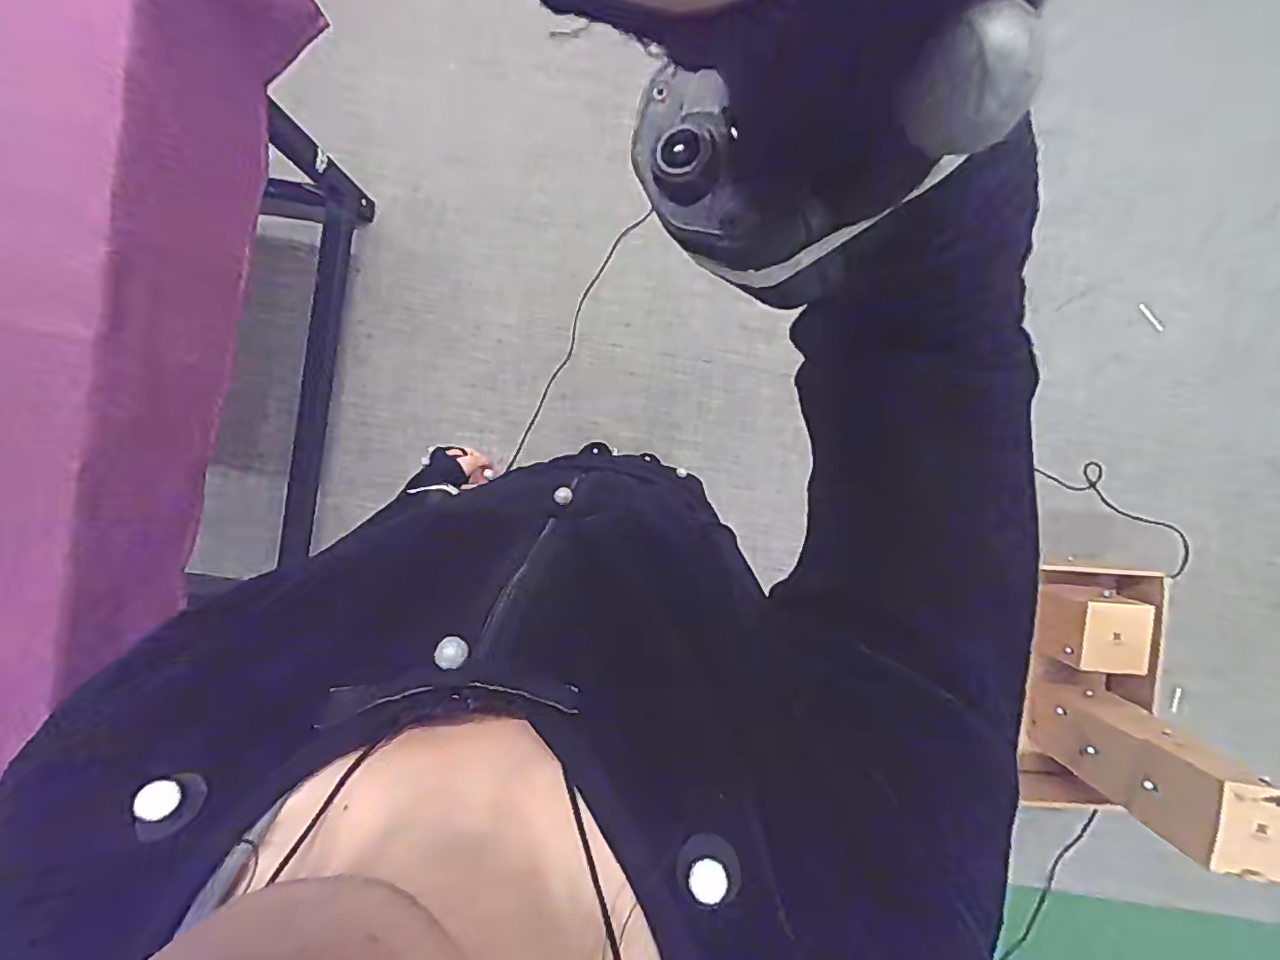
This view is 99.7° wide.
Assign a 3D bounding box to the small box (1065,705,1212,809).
[{"bbox_3d":[1.150,0.643,1.259,0.179,0.176,0.168,6,92,0],"label":"small box"}]

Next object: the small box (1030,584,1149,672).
[{"bbox_3d":[1.161,0.377,1.409,0.168,0.176,0.179,4,94,0],"label":"small box"}]

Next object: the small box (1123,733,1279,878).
[{"bbox_3d":[1.137,0.648,1.093,0.168,0.176,0.179,10,93,-1],"label":"small box"}]
